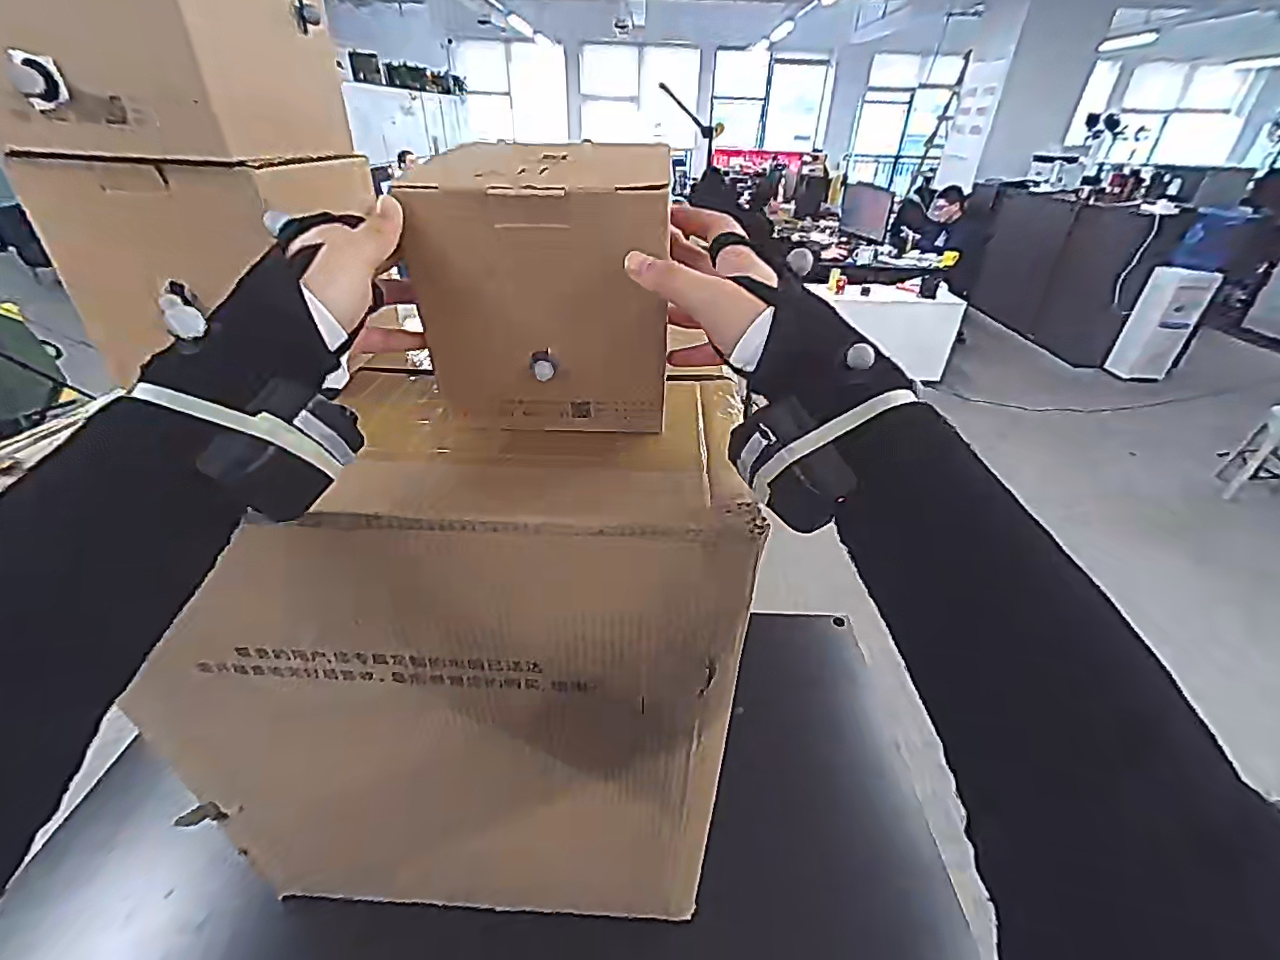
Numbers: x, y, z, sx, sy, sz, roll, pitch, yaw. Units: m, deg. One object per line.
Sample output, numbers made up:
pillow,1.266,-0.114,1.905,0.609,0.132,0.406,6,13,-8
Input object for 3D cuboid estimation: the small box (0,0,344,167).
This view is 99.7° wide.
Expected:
small box,-0.326,-0.314,0.360,0.168,0.176,0.179,1,33,-1

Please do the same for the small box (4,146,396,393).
small box,-0.330,-0.183,0.460,0.168,0.176,0.179,2,33,-1

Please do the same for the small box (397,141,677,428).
small box,-0.057,-0.157,0.422,0.168,0.176,0.179,1,37,2
